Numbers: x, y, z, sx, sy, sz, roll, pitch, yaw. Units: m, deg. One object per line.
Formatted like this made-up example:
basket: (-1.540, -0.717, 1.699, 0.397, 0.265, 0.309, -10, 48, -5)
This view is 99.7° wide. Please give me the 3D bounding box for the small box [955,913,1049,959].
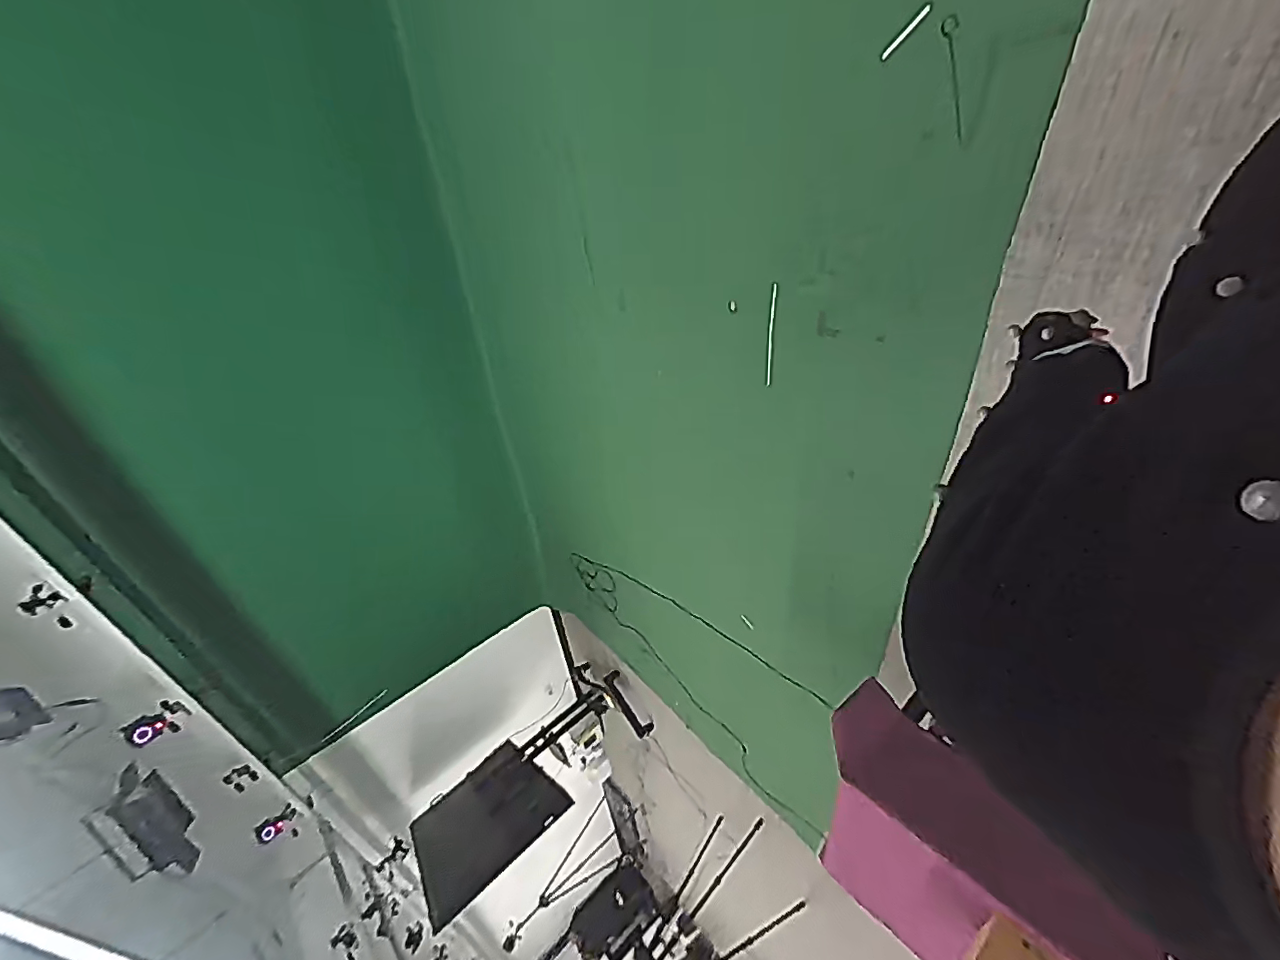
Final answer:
small box: (0.784, 1.088, 1.163, 0.168, 0.176, 0.179, 32, 141, 39)
